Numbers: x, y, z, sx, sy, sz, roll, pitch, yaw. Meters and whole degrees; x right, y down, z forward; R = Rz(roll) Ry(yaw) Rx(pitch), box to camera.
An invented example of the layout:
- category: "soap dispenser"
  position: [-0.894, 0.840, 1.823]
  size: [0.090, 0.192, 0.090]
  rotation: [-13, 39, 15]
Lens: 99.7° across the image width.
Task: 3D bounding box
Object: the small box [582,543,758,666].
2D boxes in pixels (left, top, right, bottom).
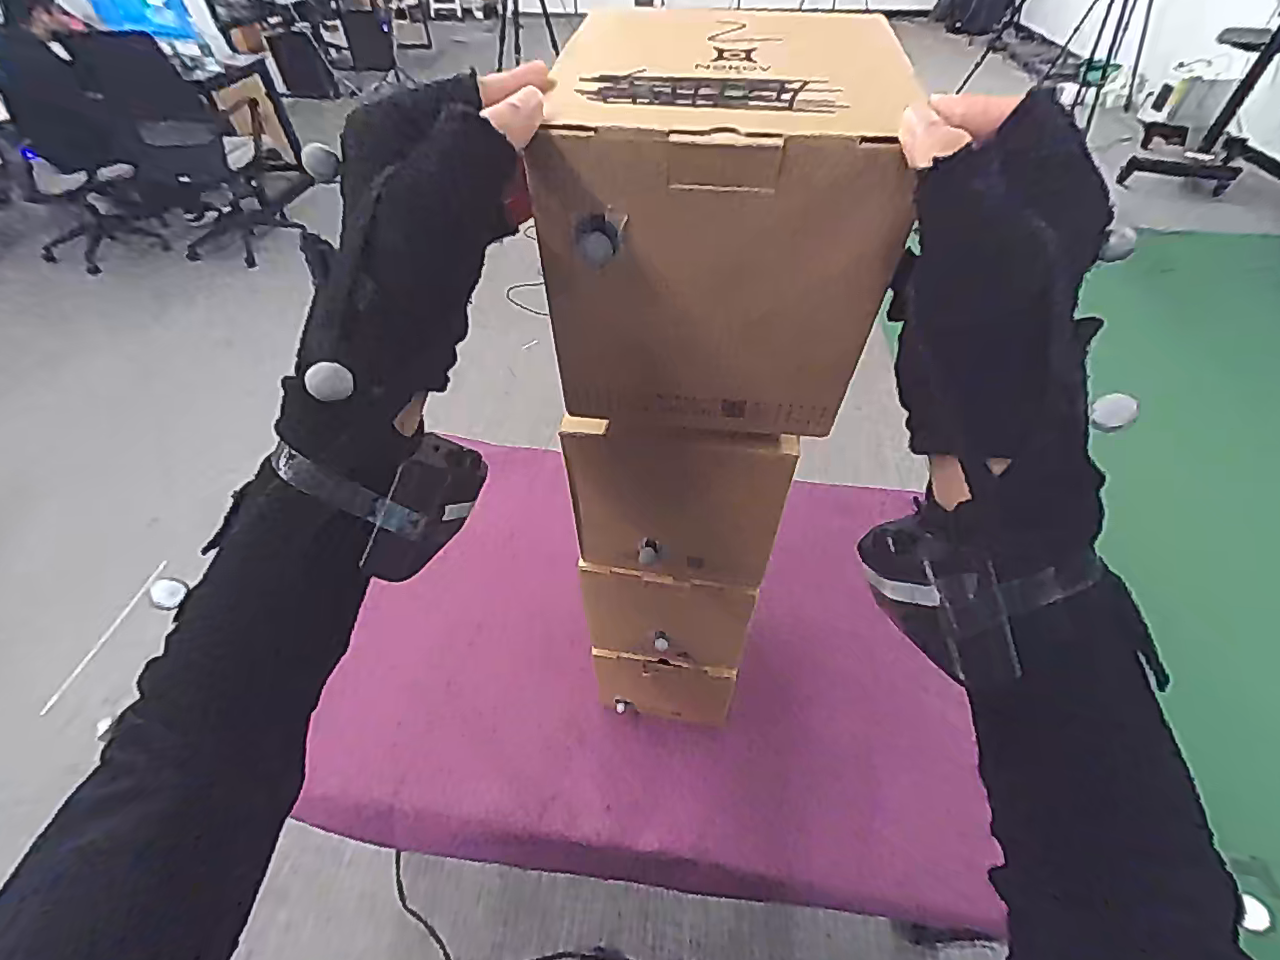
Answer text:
- category: "small box"
  position: [0.040, 0.081, 0.605]
  size: [0.168, 0.176, 0.179]
  rotation: [7, 49, 8]

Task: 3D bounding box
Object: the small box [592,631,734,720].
- category: "small box"
  position: [0.042, 0.198, 0.721]
  size: [0.168, 0.176, 0.179]
  rotation: [7, 48, 7]

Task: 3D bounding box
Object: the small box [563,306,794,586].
- category: "small box"
  position: [0.039, -0.031, 0.487]
  size: [0.168, 0.176, 0.179]
  rotation: [6, 48, 8]
